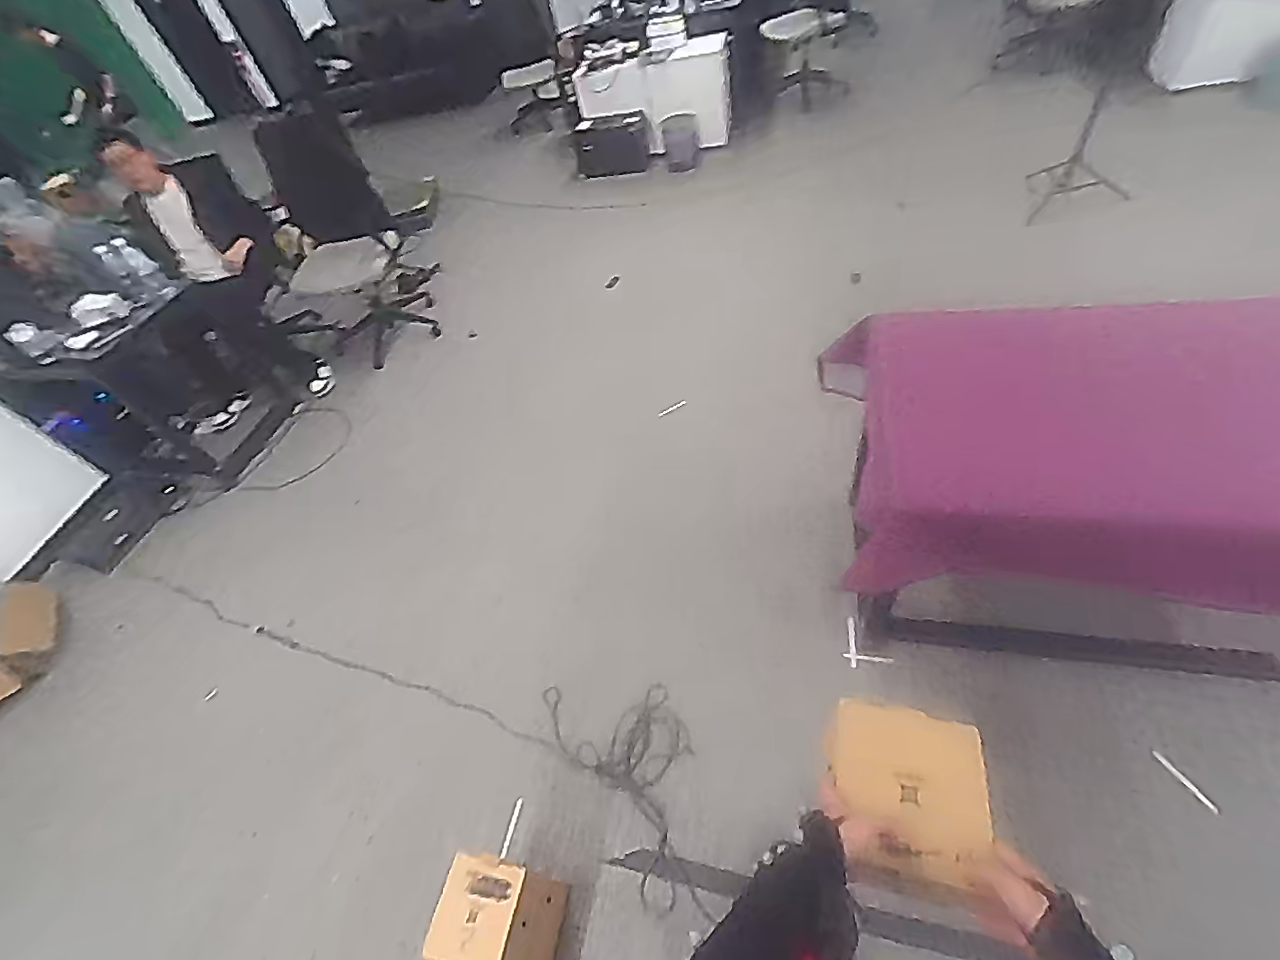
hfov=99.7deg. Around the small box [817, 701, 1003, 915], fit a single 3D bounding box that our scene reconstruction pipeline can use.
[{"bbox_3d":[0.319,0.408,0.675,0.168,0.176,0.179,7,51,15],"label":"small box"}]
